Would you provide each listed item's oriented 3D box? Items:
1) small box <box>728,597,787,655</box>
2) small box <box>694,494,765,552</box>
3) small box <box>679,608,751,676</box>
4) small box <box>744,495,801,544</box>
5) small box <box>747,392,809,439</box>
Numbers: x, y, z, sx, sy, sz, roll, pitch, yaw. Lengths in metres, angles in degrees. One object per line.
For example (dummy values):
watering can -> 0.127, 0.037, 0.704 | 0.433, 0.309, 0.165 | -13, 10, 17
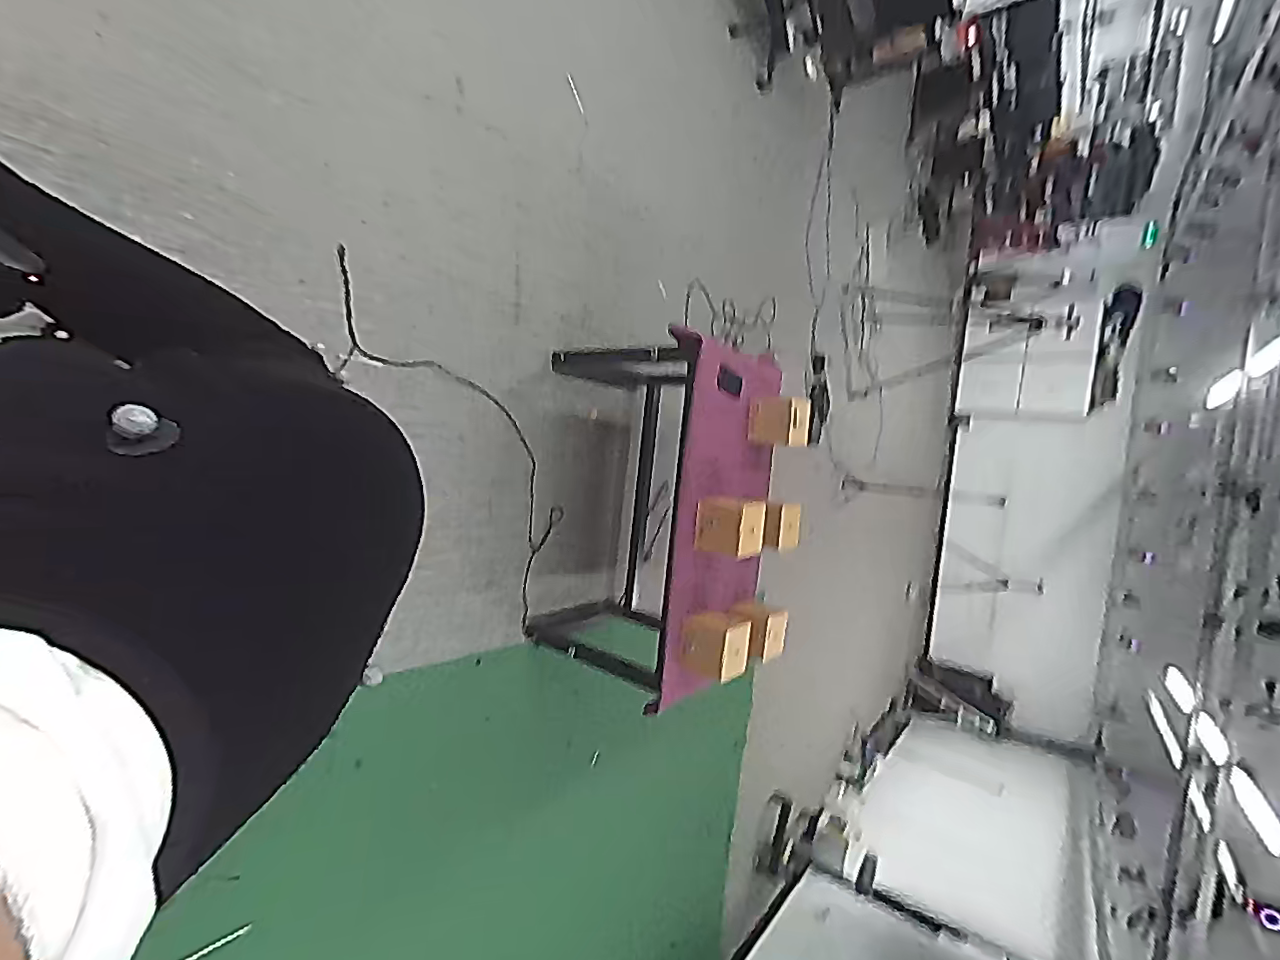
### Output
small box -> 0.445, 0.553, 2.072 | 0.179, 0.176, 0.168 | 6, 90, -52
small box -> 0.301, 0.139, 1.819 | 0.179, 0.176, 0.168 | -1, 97, -52
small box -> 0.254, 0.537, 1.818 | 0.179, 0.176, 0.168 | 6, 90, -52
small box -> 0.496, 0.146, 2.070 | 0.179, 0.176, 0.168 | 1, 94, -51
small box -> 0.516, -0.240, 2.026 | 0.179, 0.176, 0.168 | -5, 100, -52
